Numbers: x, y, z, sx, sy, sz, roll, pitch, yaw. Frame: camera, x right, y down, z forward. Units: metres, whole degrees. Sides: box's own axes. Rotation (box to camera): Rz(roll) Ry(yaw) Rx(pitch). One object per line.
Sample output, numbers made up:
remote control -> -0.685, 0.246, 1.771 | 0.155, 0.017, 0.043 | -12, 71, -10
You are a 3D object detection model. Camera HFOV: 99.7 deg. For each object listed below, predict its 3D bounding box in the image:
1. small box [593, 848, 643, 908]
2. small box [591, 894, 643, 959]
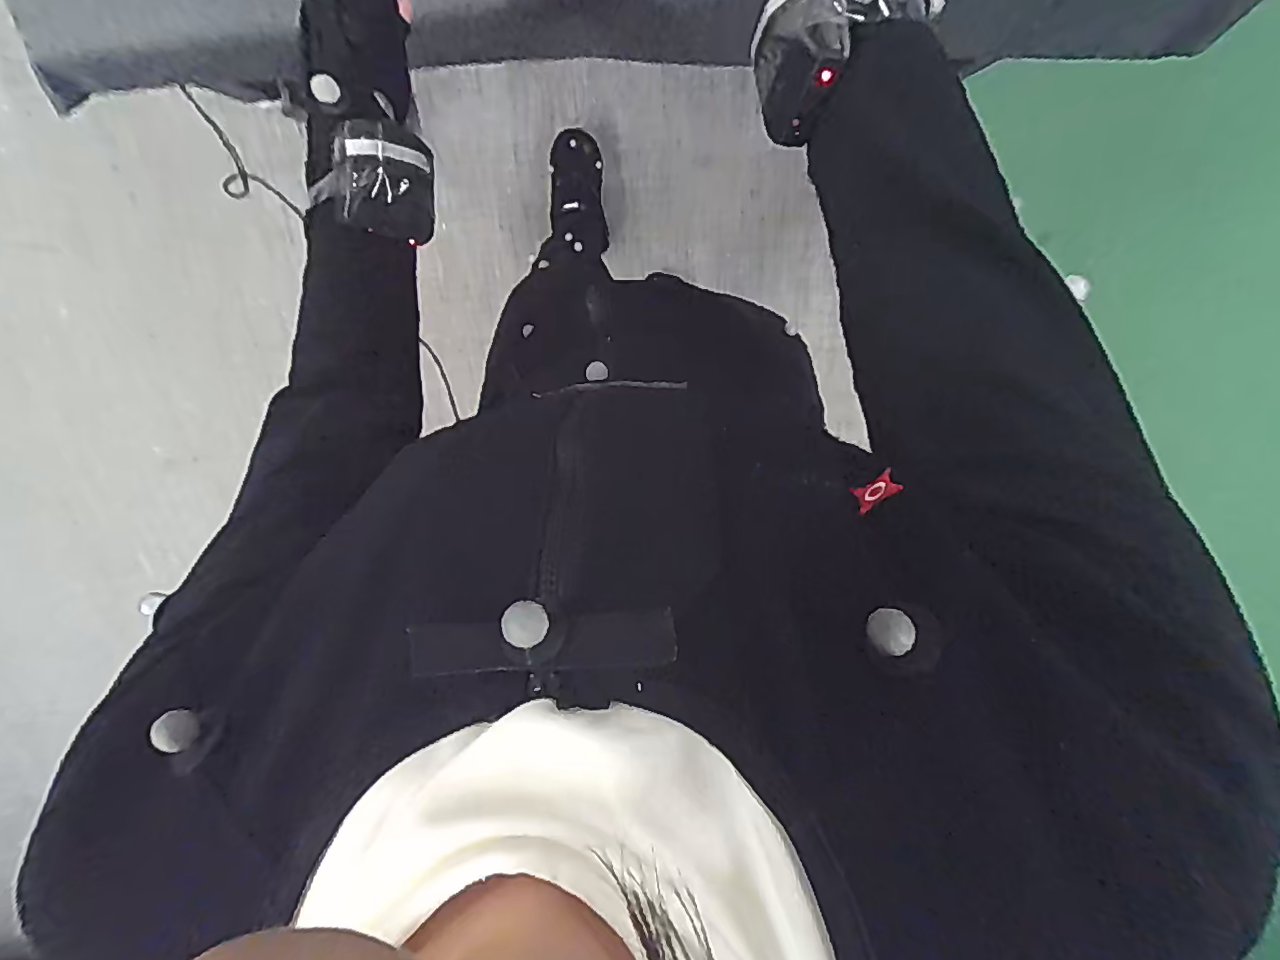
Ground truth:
small box -> -0.081, 1.569, 2.111 | 0.179, 0.176, 0.168 | -3, 114, 3
small box -> -0.078, 1.642, 1.964 | 0.179, 0.176, 0.168 | 0, 114, 1
